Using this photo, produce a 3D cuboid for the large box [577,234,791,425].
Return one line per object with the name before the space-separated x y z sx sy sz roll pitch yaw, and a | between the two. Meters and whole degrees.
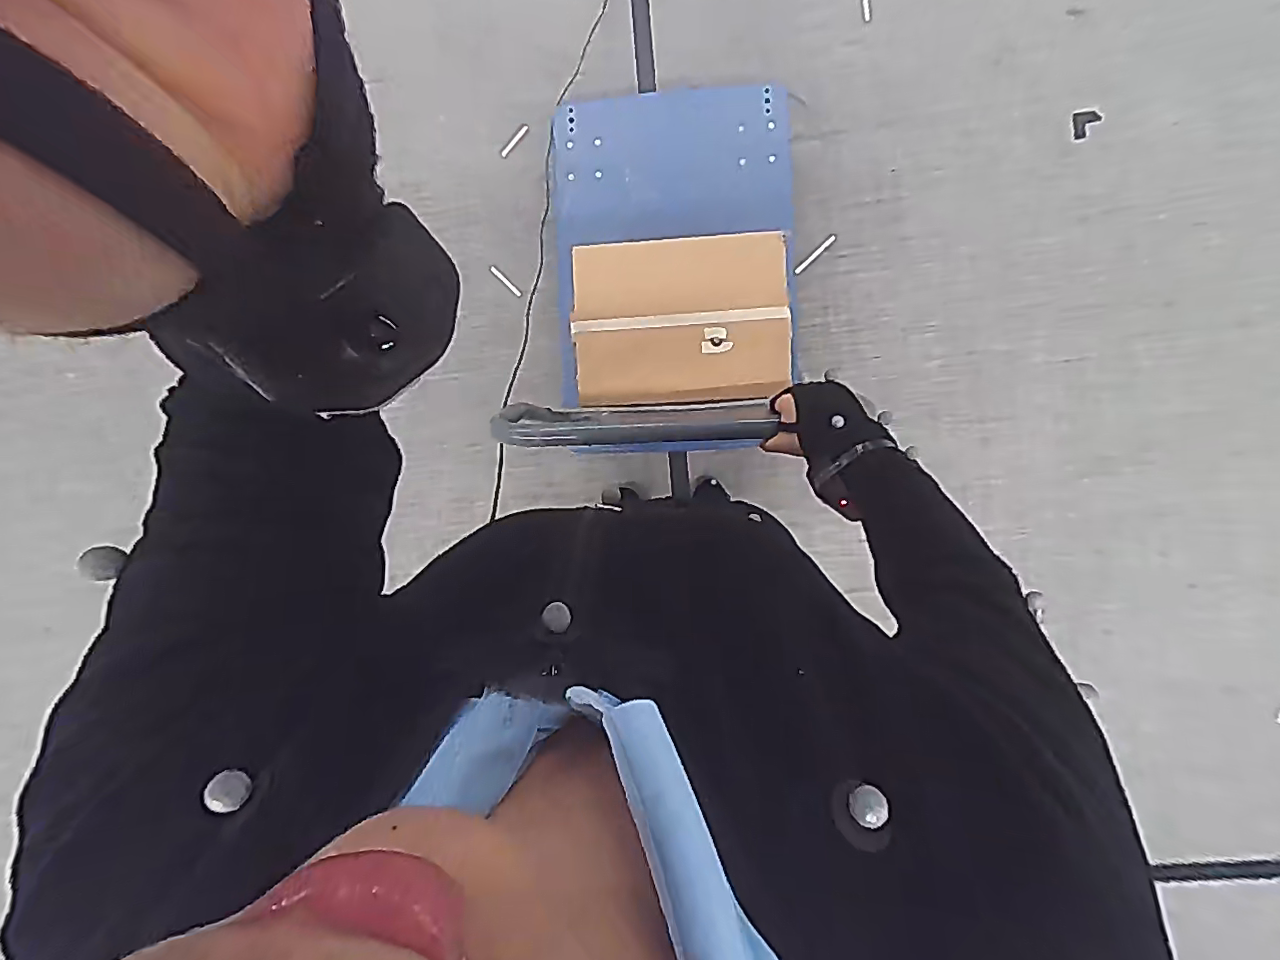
large box | 0.091 -0.302 1.187 0.408 0.320 0.320 -3 90 4
